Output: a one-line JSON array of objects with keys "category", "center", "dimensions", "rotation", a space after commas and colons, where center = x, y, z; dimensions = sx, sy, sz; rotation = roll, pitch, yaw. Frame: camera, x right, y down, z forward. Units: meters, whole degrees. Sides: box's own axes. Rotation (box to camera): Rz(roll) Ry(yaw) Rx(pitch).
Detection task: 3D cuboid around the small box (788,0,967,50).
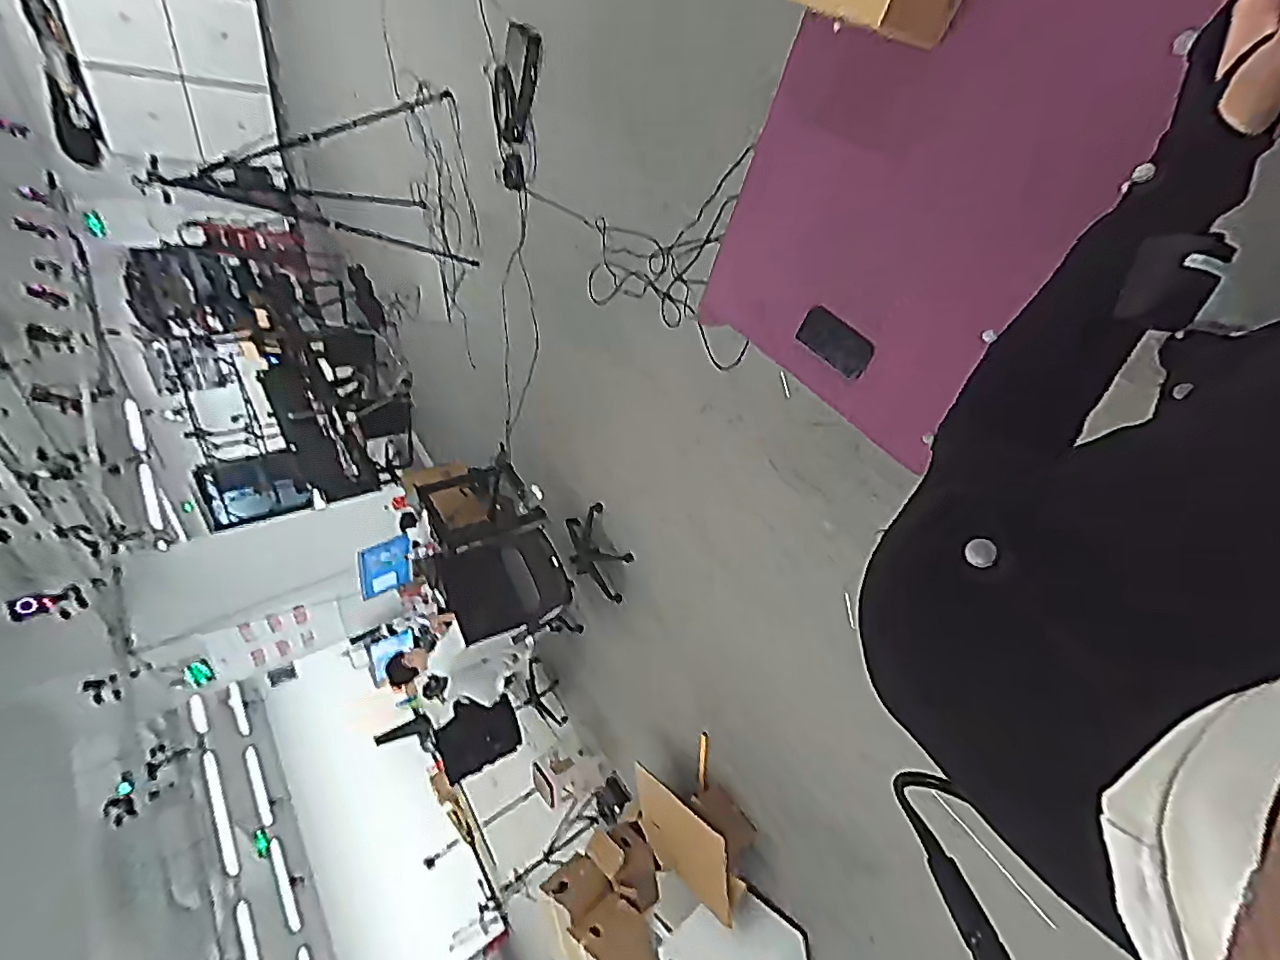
[{"category": "small box", "center": [0.341, -0.706, 0.724], "dimensions": [0.179, 0.176, 0.168], "rotation": [48, 140, 29]}]
